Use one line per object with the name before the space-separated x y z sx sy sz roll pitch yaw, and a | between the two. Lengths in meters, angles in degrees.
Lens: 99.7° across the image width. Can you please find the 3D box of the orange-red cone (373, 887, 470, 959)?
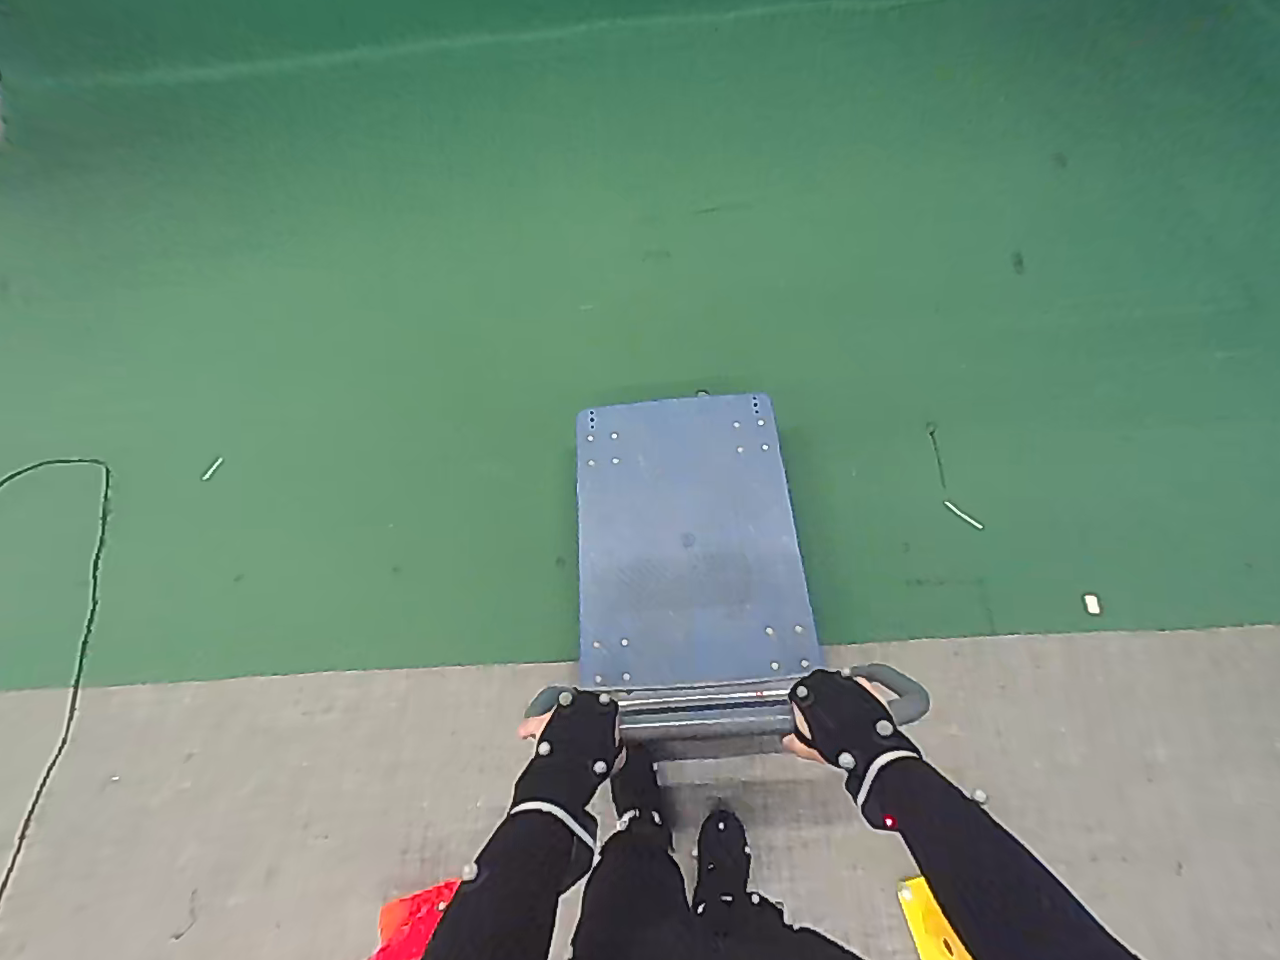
orange-red cone | -0.504 0.992 1.077 0.199 0.360 0.198 -18 64 -2
